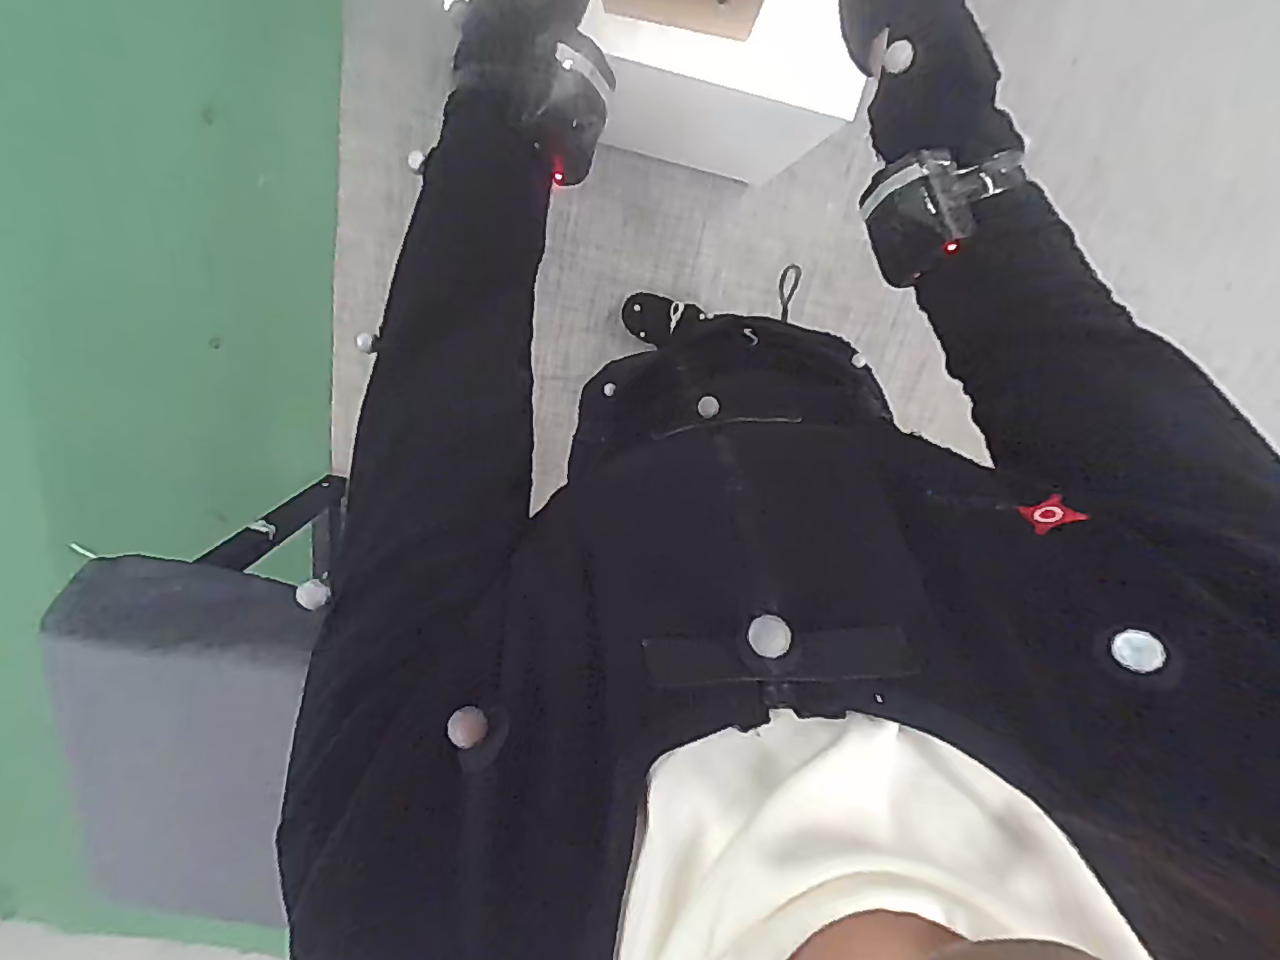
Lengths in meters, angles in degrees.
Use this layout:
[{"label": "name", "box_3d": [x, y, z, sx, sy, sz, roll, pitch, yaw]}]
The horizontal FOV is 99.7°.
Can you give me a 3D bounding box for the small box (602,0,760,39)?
[{"label": "small box", "box_3d": [0.052, -0.573, 0.530, 0.179, 0.176, 0.168, 10, 110, -1]}]
